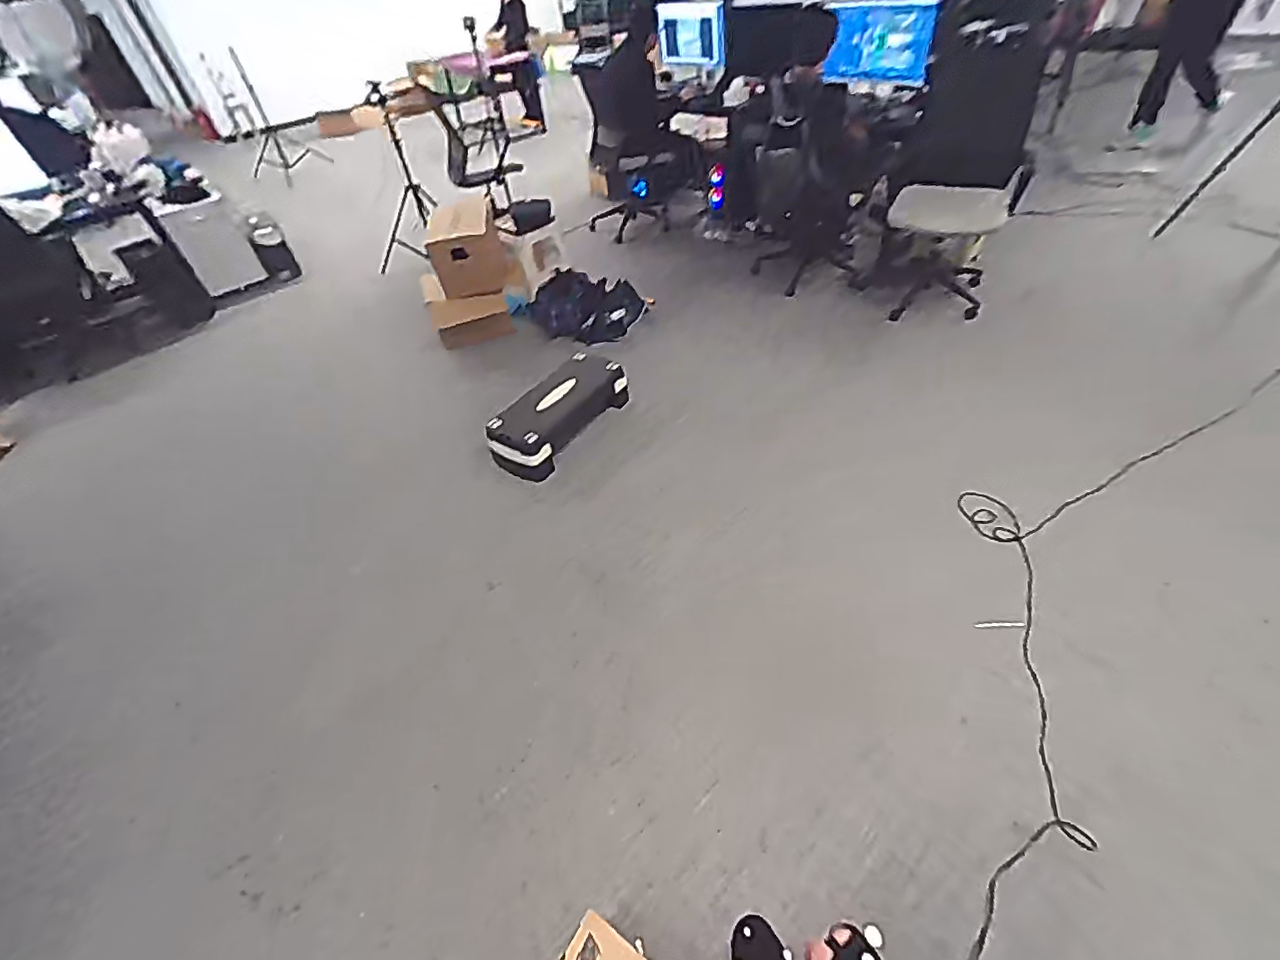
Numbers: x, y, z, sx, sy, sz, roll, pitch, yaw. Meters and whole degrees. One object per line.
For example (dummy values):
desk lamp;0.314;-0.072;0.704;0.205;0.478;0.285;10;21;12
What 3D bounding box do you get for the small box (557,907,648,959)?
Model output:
small box;-0.062;0.915;0.959;0.179;0.176;0.168;24;52;27
